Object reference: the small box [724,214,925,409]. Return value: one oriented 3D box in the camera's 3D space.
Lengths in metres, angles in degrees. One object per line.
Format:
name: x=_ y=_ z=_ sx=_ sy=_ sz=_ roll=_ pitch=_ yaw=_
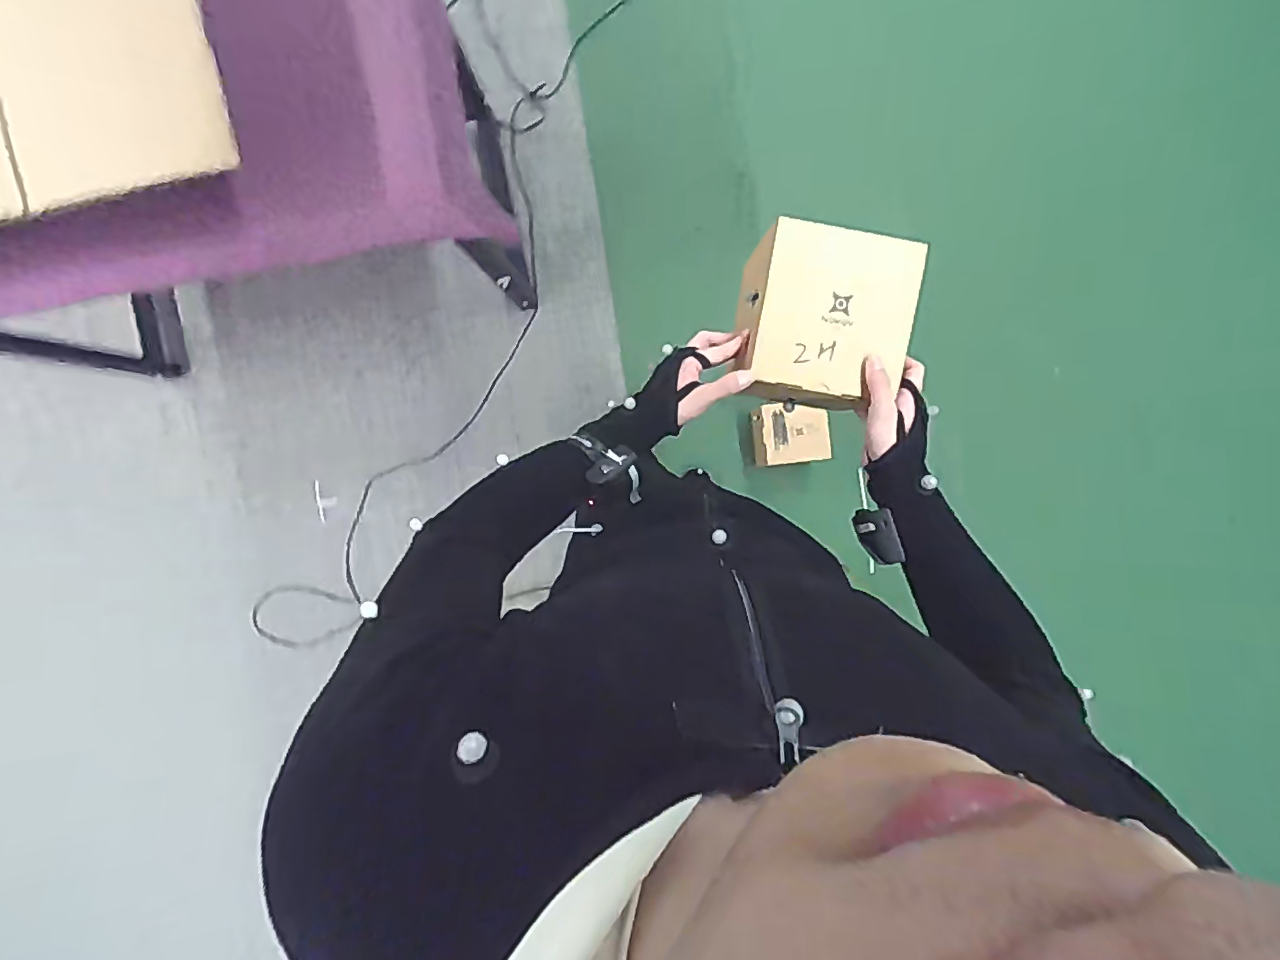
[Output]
small box: x=0.205 y=-0.187 z=0.652 sx=0.168 sy=0.176 sz=0.179 roll=9 pitch=95 yaw=-2
